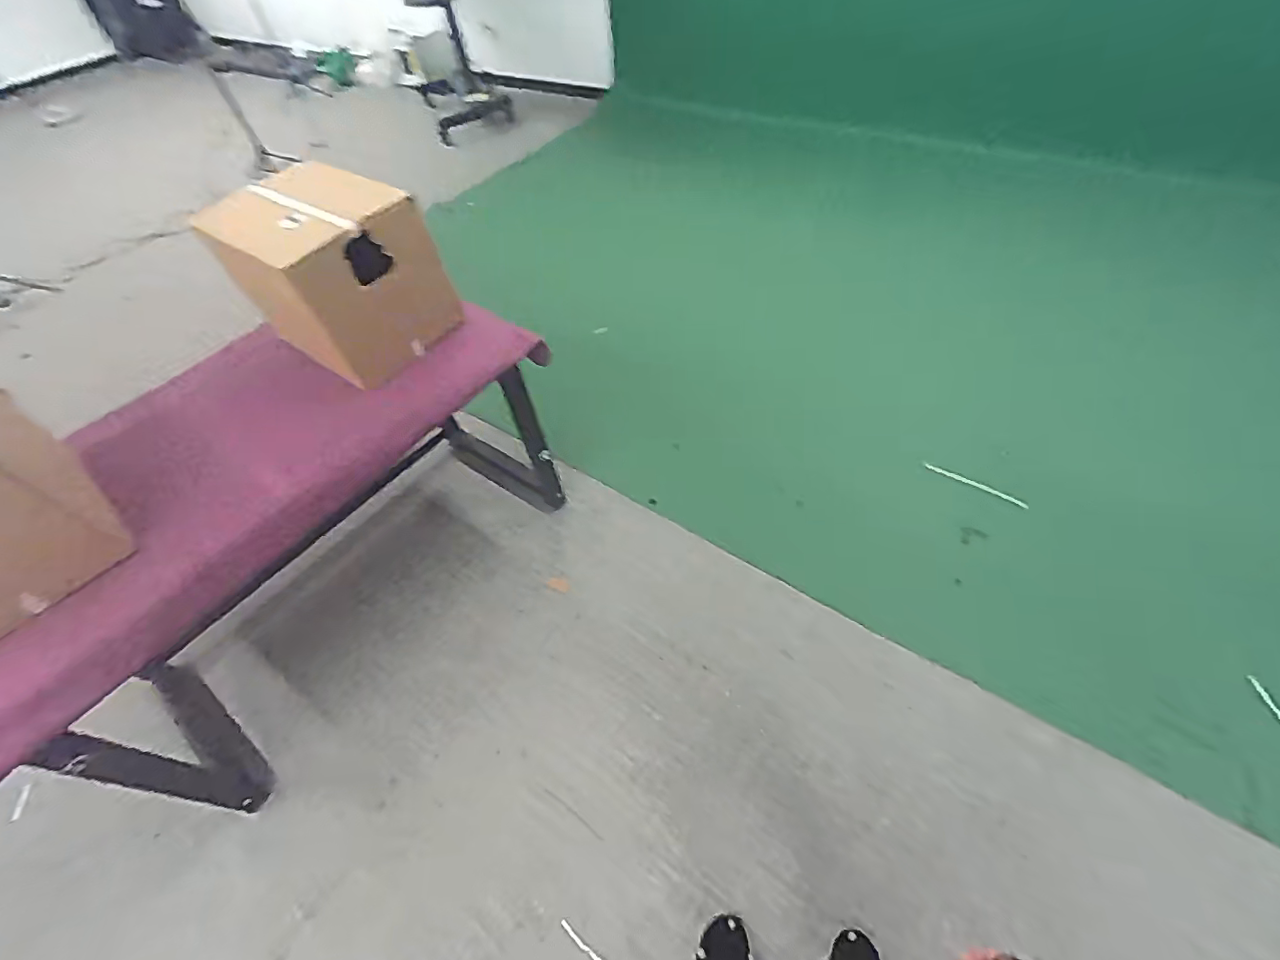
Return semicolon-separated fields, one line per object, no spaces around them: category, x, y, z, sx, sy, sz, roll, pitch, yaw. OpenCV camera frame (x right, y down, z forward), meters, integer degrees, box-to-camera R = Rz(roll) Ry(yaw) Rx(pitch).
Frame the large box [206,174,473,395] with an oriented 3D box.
large box;-0.677;-0.460;1.264;0.408;0.320;0.320;28;62;25
